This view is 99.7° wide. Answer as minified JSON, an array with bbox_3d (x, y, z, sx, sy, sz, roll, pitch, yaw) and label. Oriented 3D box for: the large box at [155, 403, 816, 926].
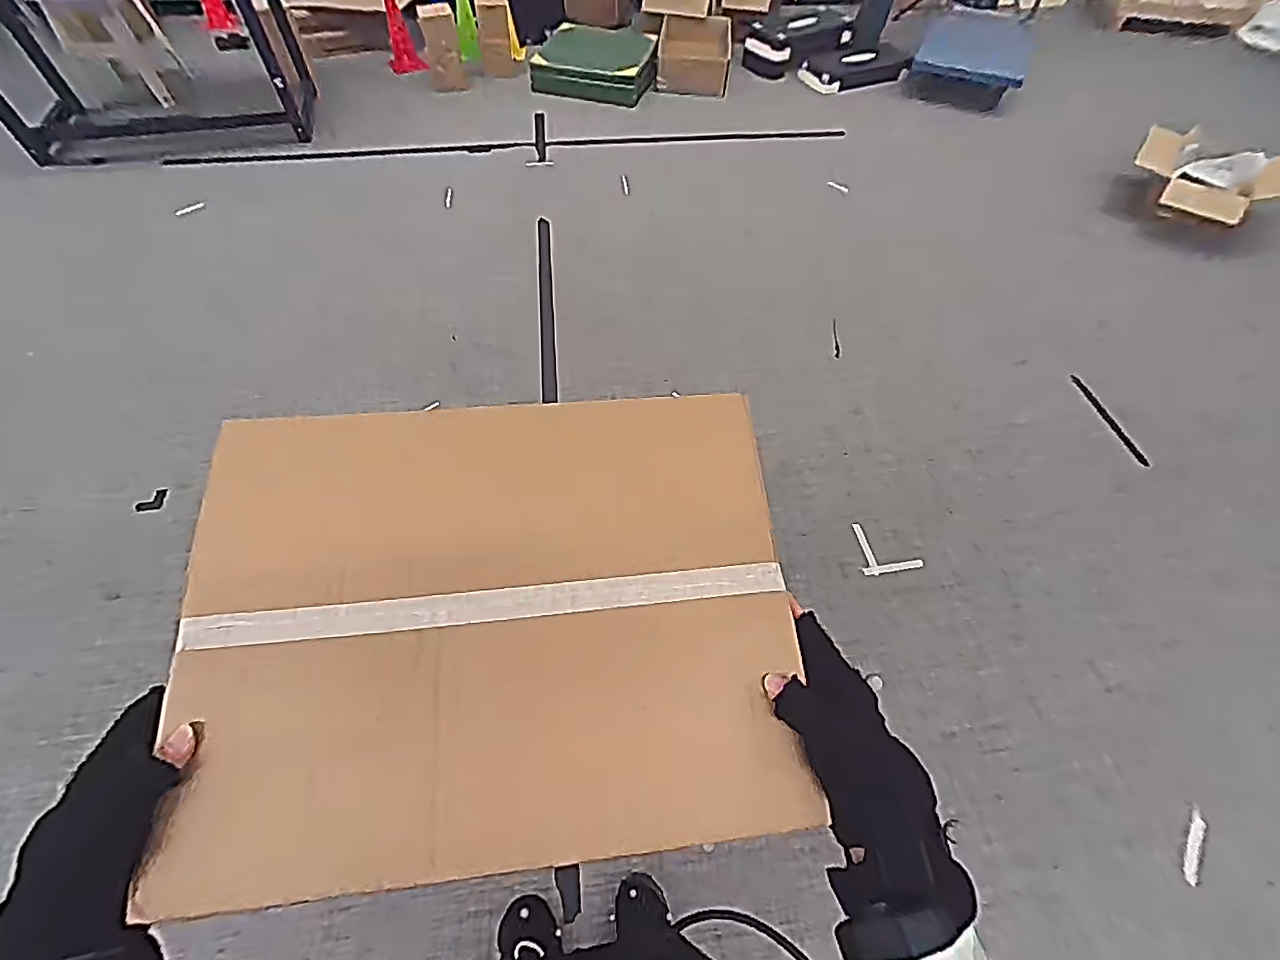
[{"bbox_3d":[-0.107,0.147,0.517,0.408,0.320,0.320,-4,68,-6],"label":"large box"}]
